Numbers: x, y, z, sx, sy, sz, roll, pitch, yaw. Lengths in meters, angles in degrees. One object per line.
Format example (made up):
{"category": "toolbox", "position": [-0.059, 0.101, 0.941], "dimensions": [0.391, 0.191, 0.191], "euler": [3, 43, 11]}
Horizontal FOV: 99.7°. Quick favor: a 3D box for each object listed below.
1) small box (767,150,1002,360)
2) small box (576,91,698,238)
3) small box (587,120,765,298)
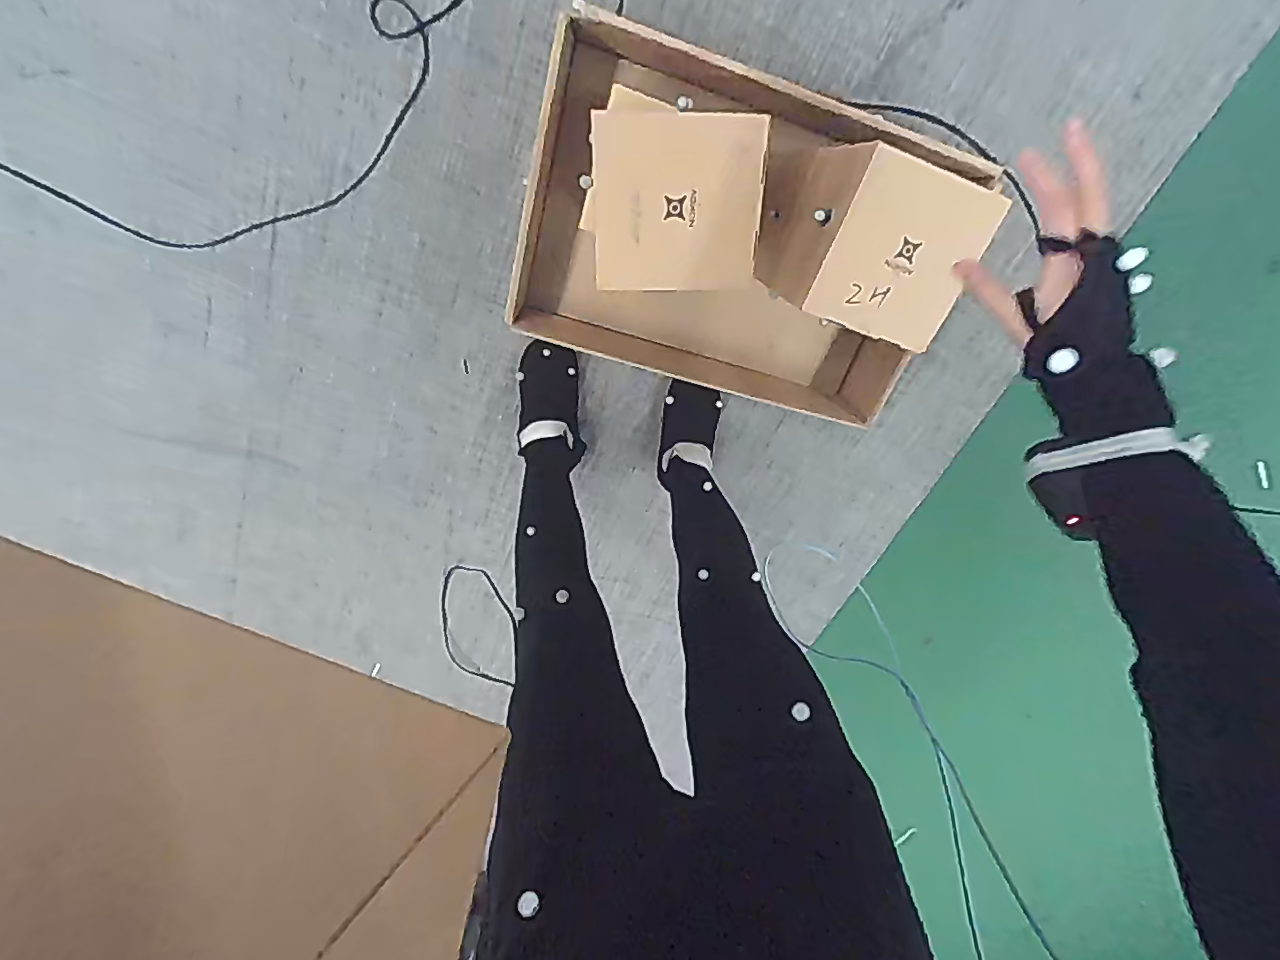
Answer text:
{"category": "small box", "position": [0.274, -0.274, 0.658], "dimensions": [0.168, 0.176, 0.179], "euler": [16, 117, -11]}
{"category": "small box", "position": [0.015, -0.409, 0.757], "dimensions": [0.179, 0.176, 0.168], "euler": [13, 118, -13]}
{"category": "small box", "position": [0.029, -0.313, 0.626], "dimensions": [0.179, 0.176, 0.168], "euler": [-1, 120, -3]}
